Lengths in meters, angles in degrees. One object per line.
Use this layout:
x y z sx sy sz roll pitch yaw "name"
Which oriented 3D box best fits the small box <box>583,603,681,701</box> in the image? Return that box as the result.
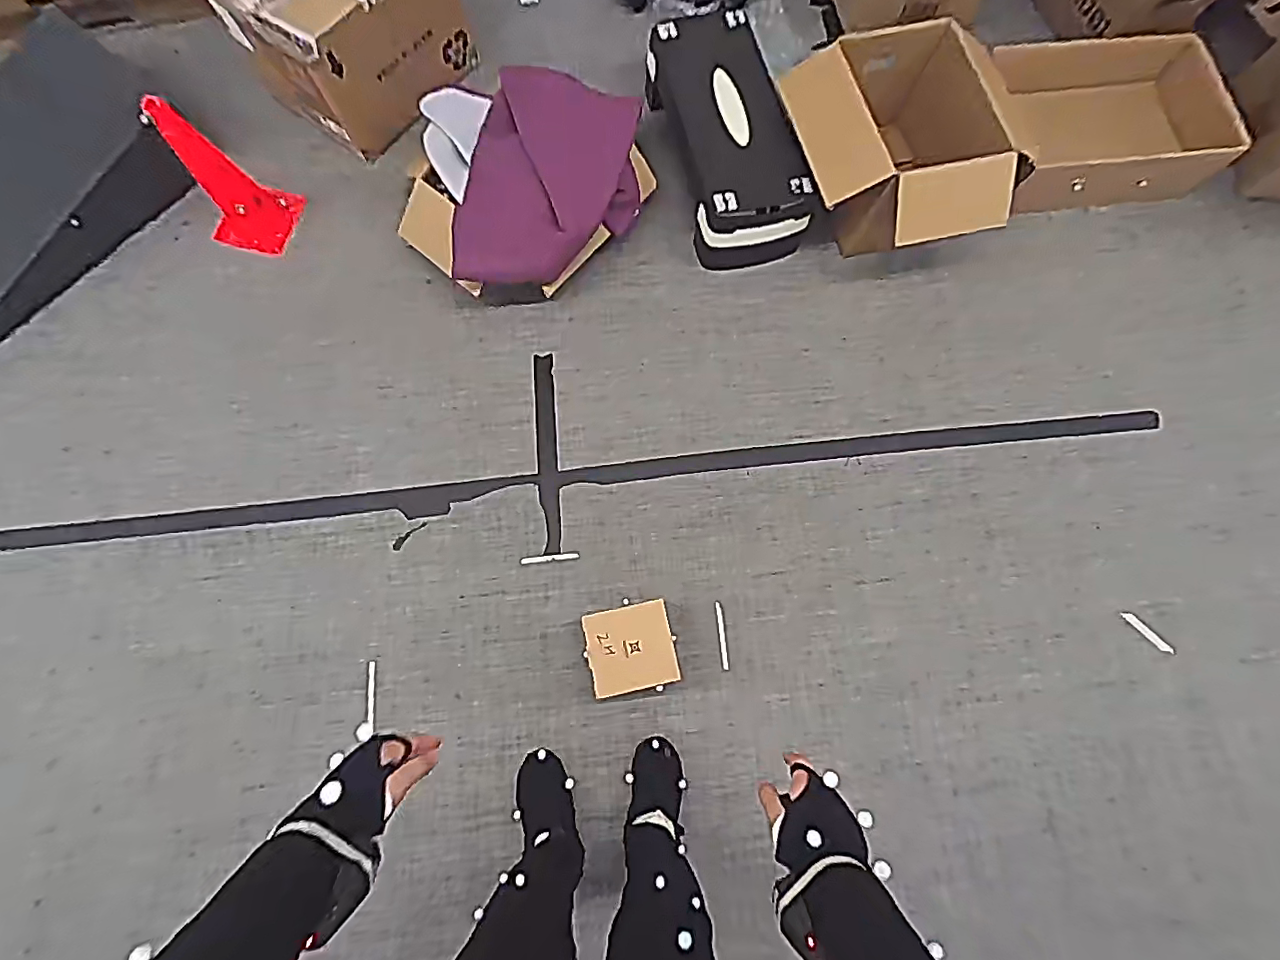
-0.021 0.363 1.168 0.179 0.176 0.168 -11 76 -5 "small box"
